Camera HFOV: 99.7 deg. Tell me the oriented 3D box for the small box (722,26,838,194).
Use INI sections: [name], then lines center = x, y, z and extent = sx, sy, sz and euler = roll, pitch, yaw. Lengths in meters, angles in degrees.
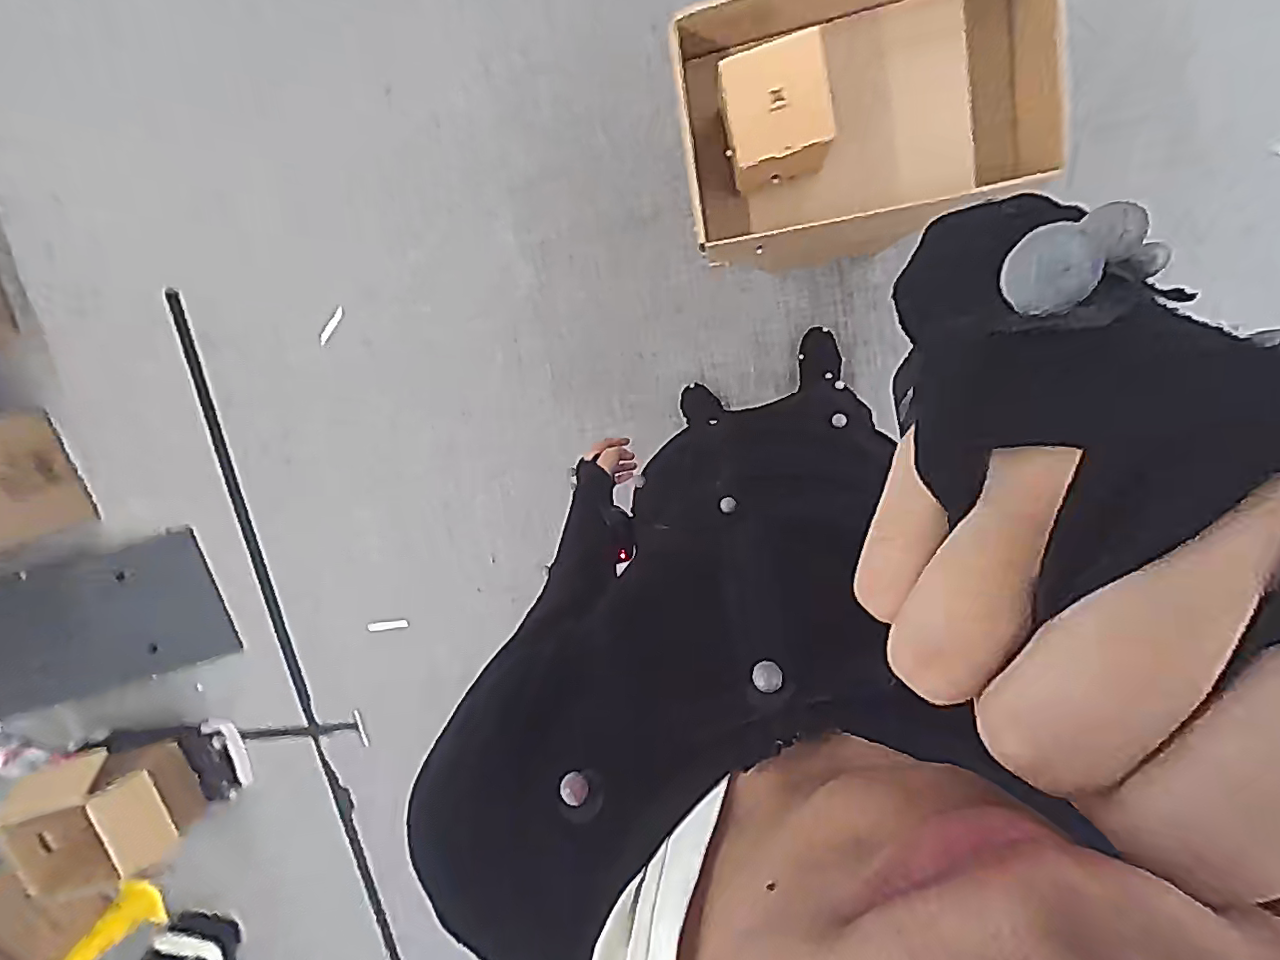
[small box]
center = 0.246, -0.656, 0.983
extent = 0.168, 0.176, 0.179
euler = -13, 100, 11
